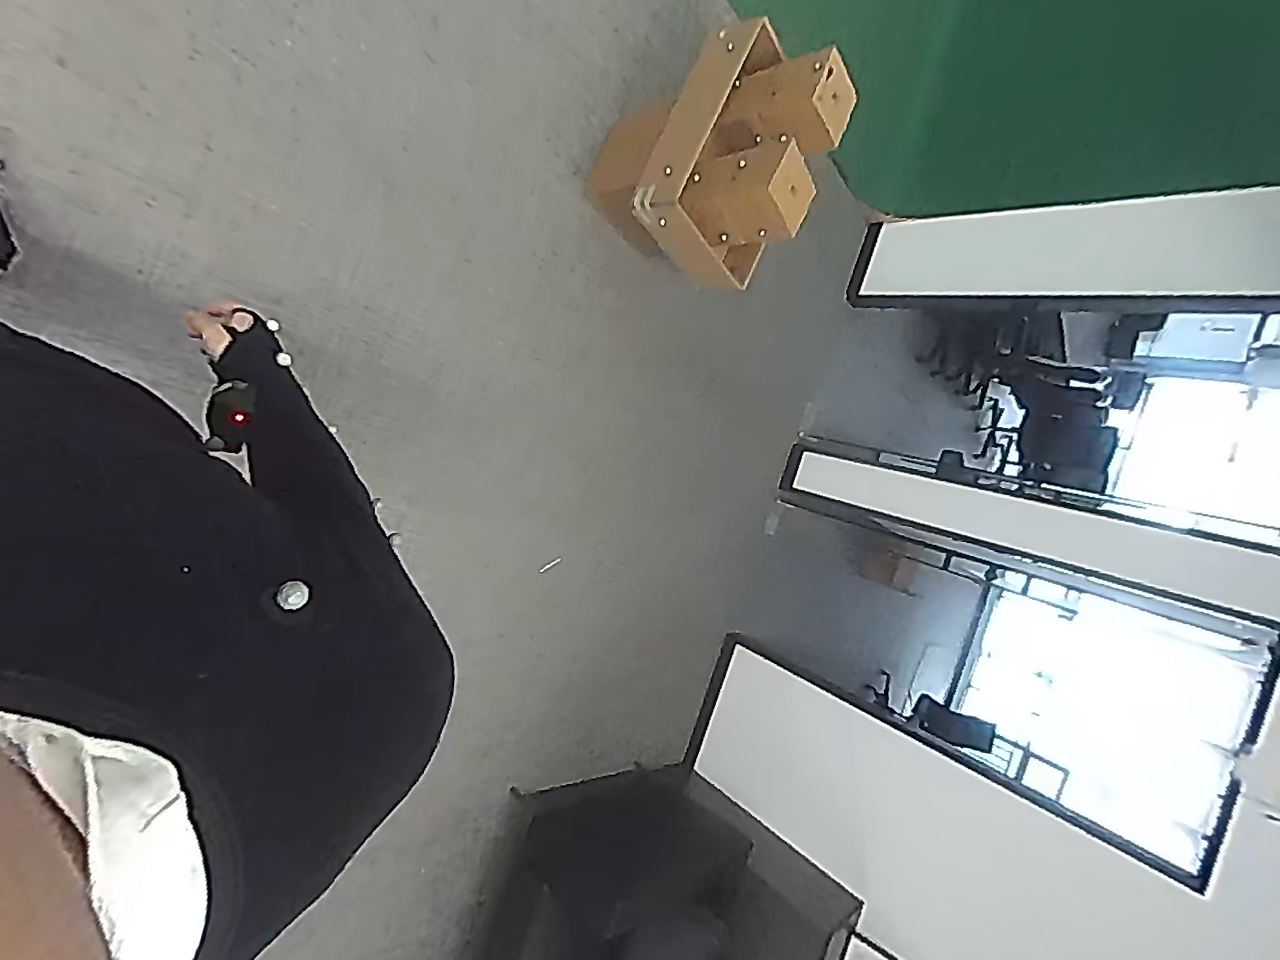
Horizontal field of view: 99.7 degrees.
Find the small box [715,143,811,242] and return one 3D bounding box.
[{"bbox_3d":[0.339,-0.785,1.495,0.179,0.176,0.168,36,77,-46],"label":"small box"}]

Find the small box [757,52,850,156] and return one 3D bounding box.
[{"bbox_3d":[0.461,-1.048,1.529,0.179,0.176,0.168,27,83,-48],"label":"small box"}]

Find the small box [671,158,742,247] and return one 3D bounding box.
[{"bbox_3d":[0.224,-0.819,1.605,0.179,0.176,0.168,37,76,-46],"label":"small box"}]
